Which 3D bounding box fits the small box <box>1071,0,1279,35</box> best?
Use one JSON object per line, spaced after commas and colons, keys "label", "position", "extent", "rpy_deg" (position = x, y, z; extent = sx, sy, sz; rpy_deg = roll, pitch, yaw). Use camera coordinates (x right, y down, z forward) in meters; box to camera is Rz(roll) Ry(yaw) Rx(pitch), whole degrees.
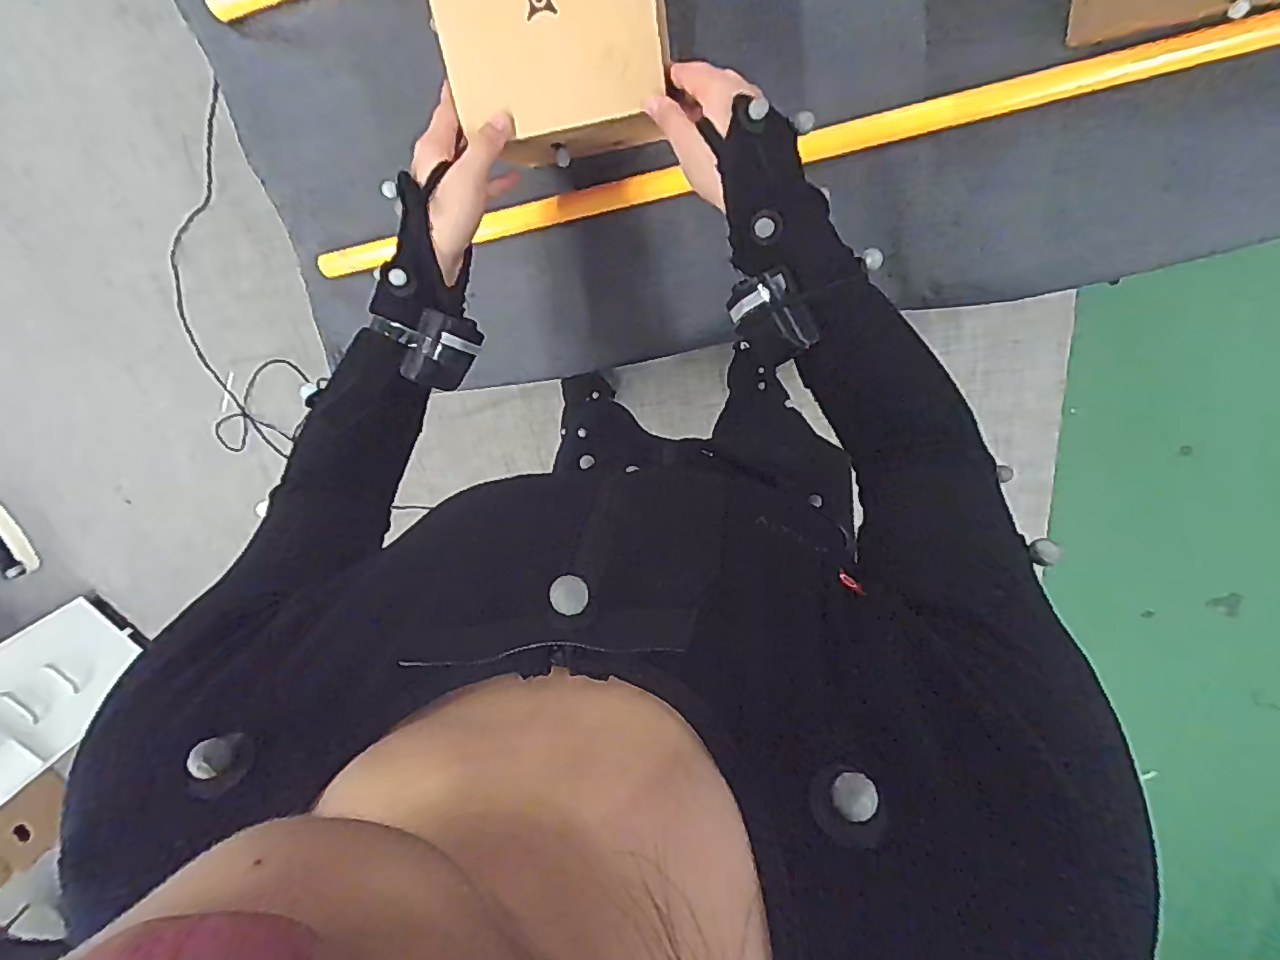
{"label": "small box", "position": [0.432, -0.432, 0.360], "extent": [0.168, 0.176, 0.179], "rpy_deg": [-4, 115, 12]}

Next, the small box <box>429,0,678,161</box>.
{"label": "small box", "position": [-0.062, -0.383, 0.455], "extent": [0.168, 0.176, 0.179], "rpy_deg": [-6, 114, 10]}
